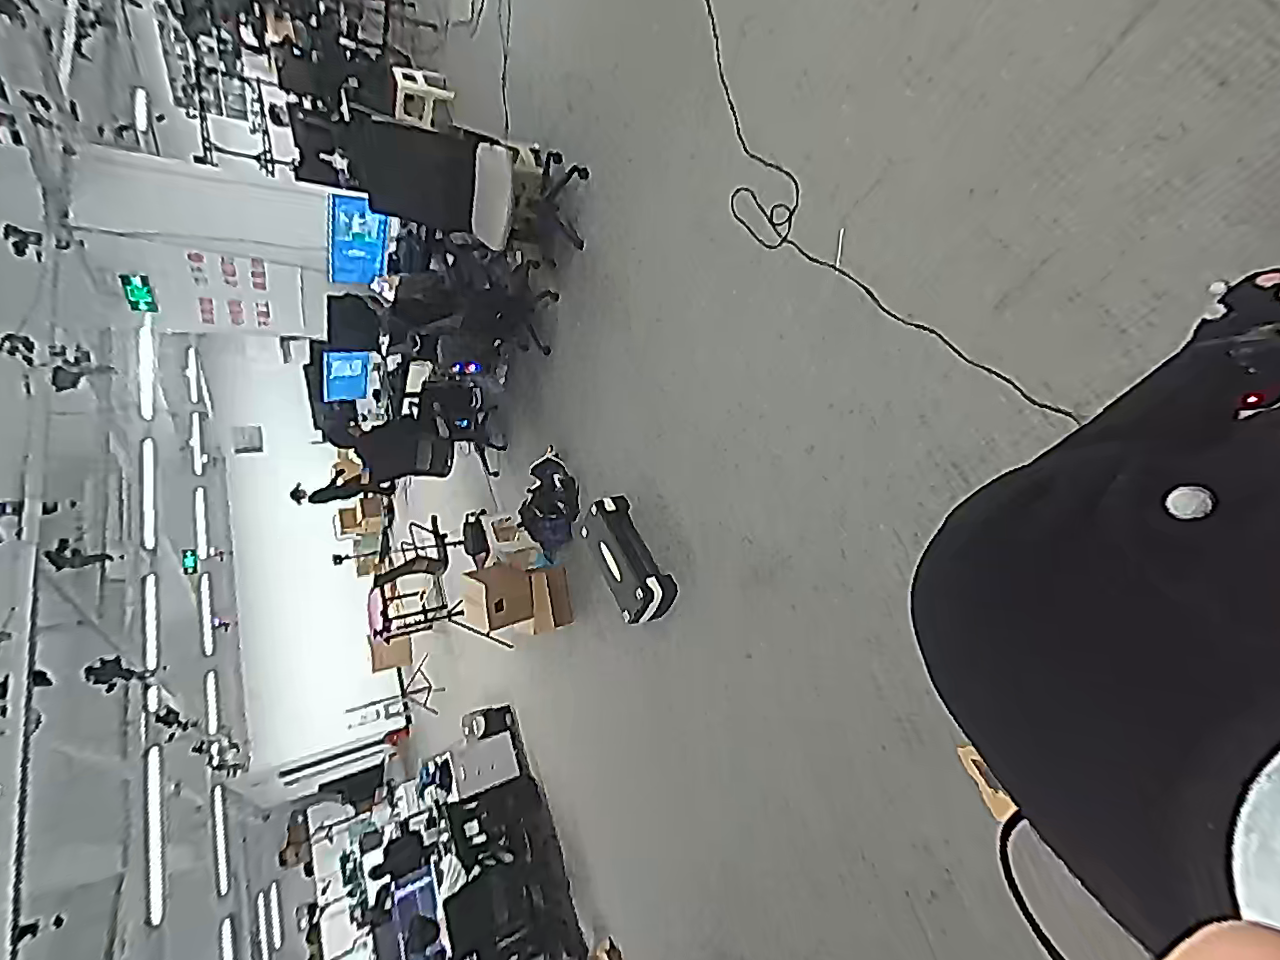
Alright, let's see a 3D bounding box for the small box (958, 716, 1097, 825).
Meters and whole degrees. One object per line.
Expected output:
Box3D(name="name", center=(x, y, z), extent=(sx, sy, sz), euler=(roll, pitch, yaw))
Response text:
Box3D(name="small box", center=(0.896, 0.670, 1.251), extent=(0.179, 0.176, 0.168), euler=(-50, 57, 47))
